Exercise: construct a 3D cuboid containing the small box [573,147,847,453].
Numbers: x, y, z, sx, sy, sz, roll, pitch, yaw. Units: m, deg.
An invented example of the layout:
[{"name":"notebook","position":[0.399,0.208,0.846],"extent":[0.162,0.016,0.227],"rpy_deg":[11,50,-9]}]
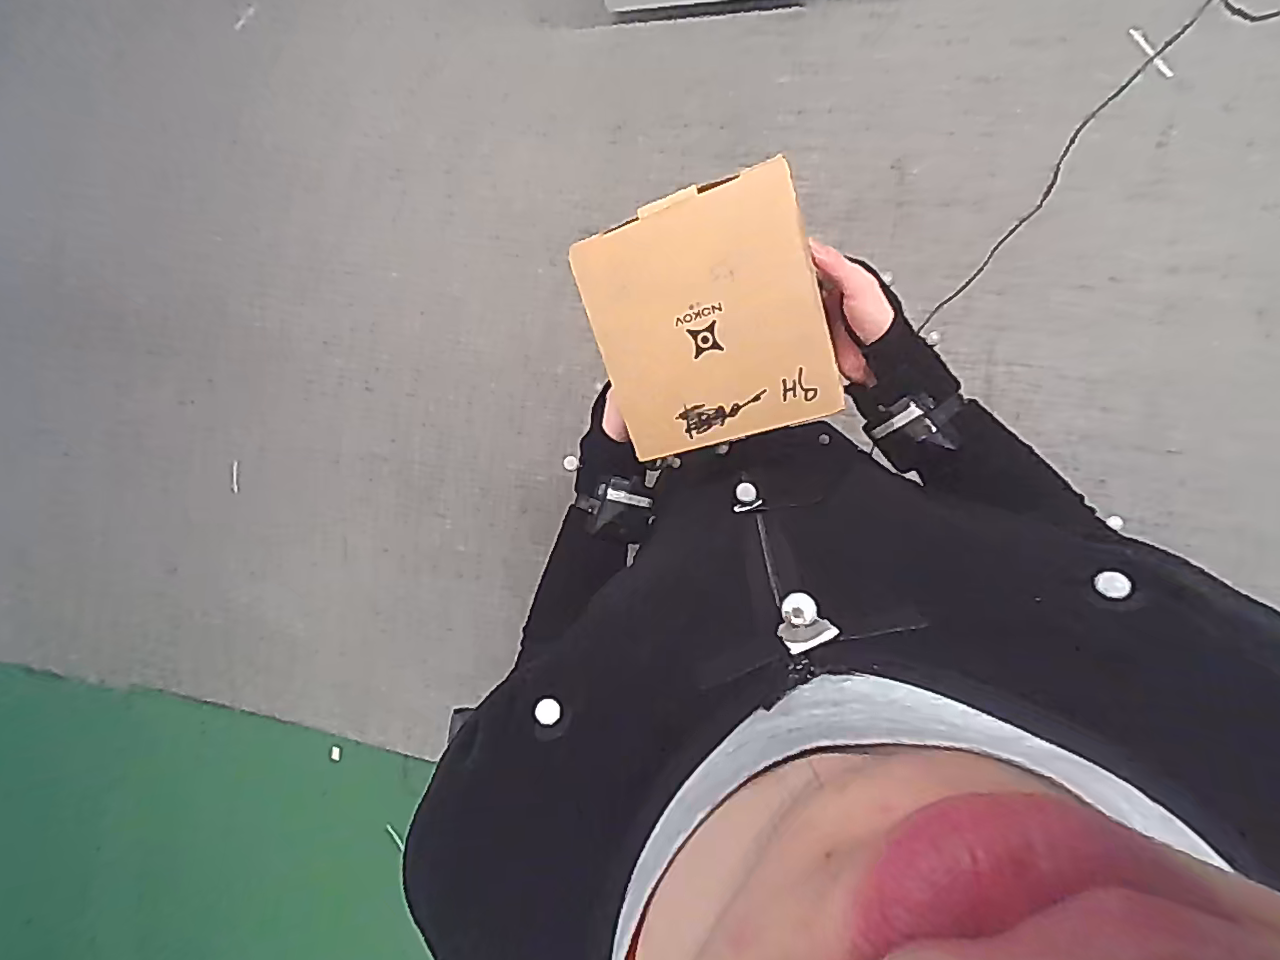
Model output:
[{"name":"small box","position":[0.070,-0.142,0.464],"extent":[0.168,0.176,0.179],"rpy_deg":[-14,104,22]}]
